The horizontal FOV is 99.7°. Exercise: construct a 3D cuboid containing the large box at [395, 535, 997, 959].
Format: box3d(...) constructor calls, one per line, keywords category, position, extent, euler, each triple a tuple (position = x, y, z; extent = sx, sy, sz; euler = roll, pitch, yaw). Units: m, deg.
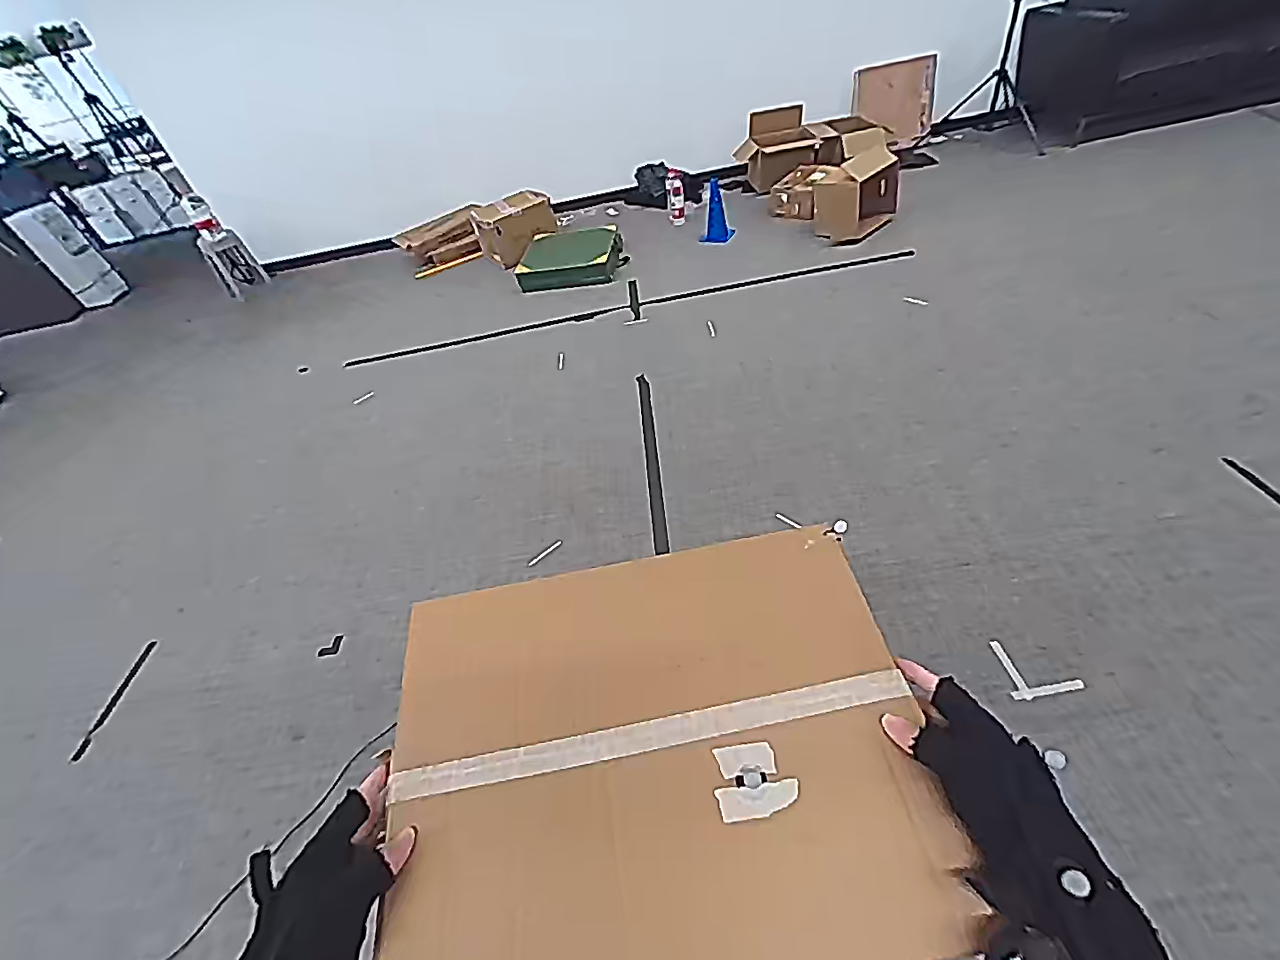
box3d(category="large box", position=(0.026, 0.301, 0.547), extent=(0.408, 0.320, 0.320), euler=(-11, 51, -1))
